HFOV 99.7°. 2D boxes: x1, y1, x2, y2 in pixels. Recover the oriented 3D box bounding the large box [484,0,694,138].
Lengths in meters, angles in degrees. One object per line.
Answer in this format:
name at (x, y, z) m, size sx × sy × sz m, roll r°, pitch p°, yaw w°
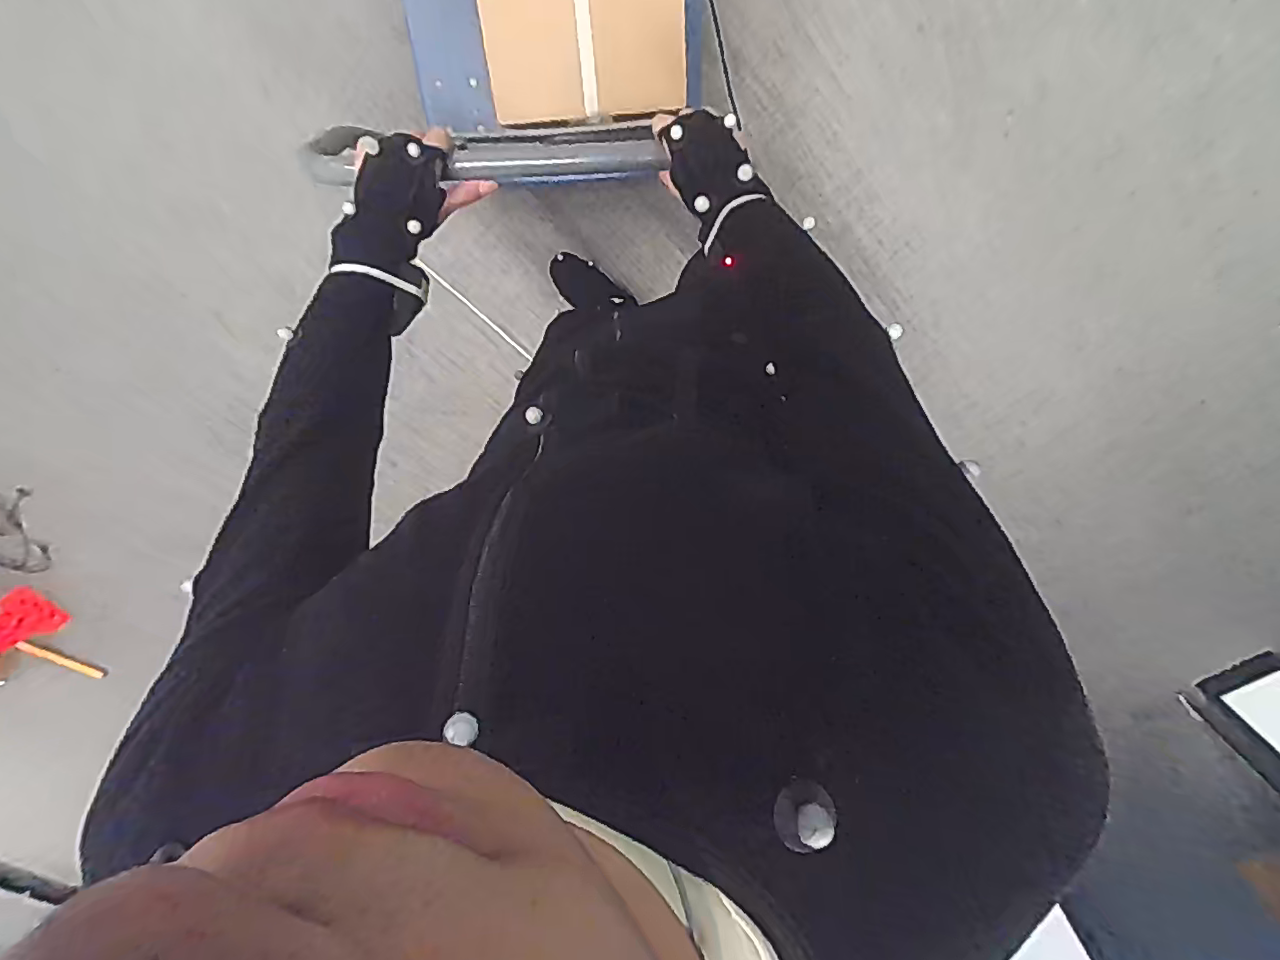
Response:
large box at (-0.083, -0.834, 0.912) m, size 0.320 × 0.320 × 0.408 m, roll -4°, pitch 119°, yaw 1°
